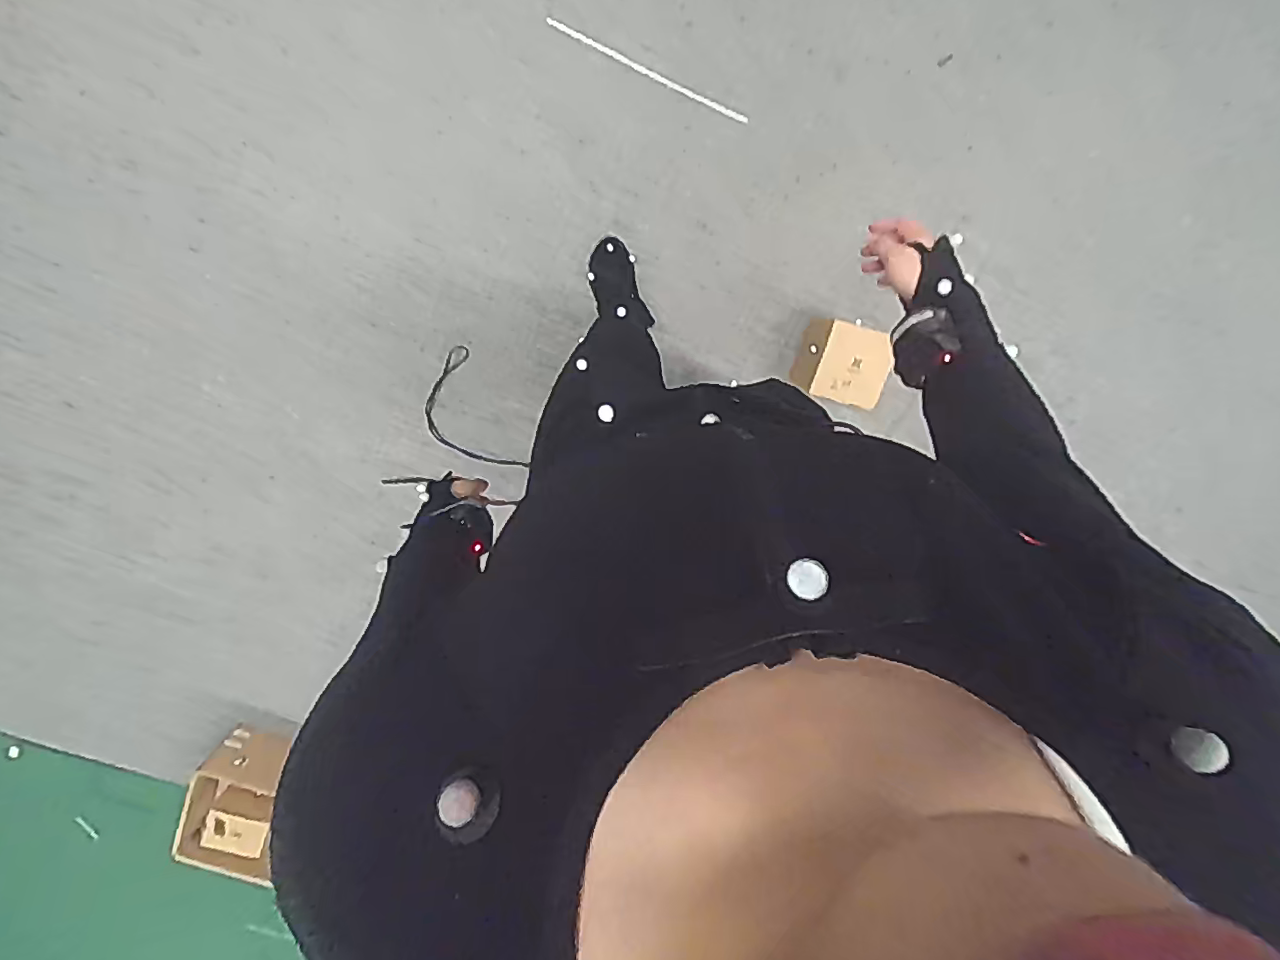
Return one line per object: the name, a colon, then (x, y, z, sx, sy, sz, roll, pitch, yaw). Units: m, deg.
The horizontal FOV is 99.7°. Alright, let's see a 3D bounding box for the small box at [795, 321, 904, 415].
small box: (0.494, -0.278, 1.308, 0.168, 0.176, 0.179, 14, 109, -5)
